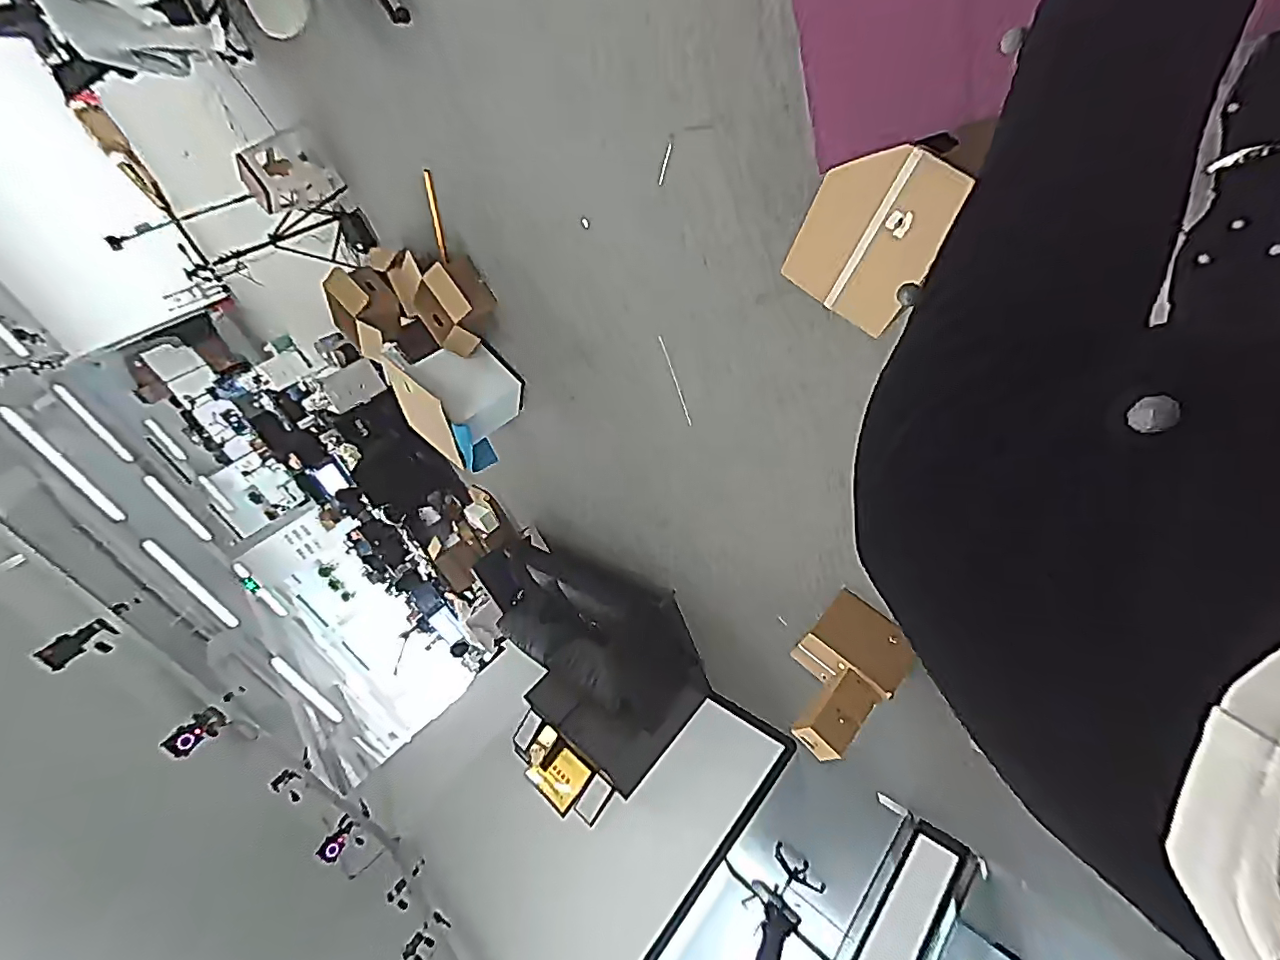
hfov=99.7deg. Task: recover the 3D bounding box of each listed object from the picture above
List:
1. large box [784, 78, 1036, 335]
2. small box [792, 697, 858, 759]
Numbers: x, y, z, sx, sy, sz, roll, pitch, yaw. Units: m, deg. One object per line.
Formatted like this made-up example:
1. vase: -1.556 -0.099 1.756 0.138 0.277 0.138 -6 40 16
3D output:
1. large box: 0.616 -0.641 1.292 0.320 0.320 0.408 41 150 14
2. small box: 0.782 1.044 2.275 0.168 0.176 0.179 43 150 13
